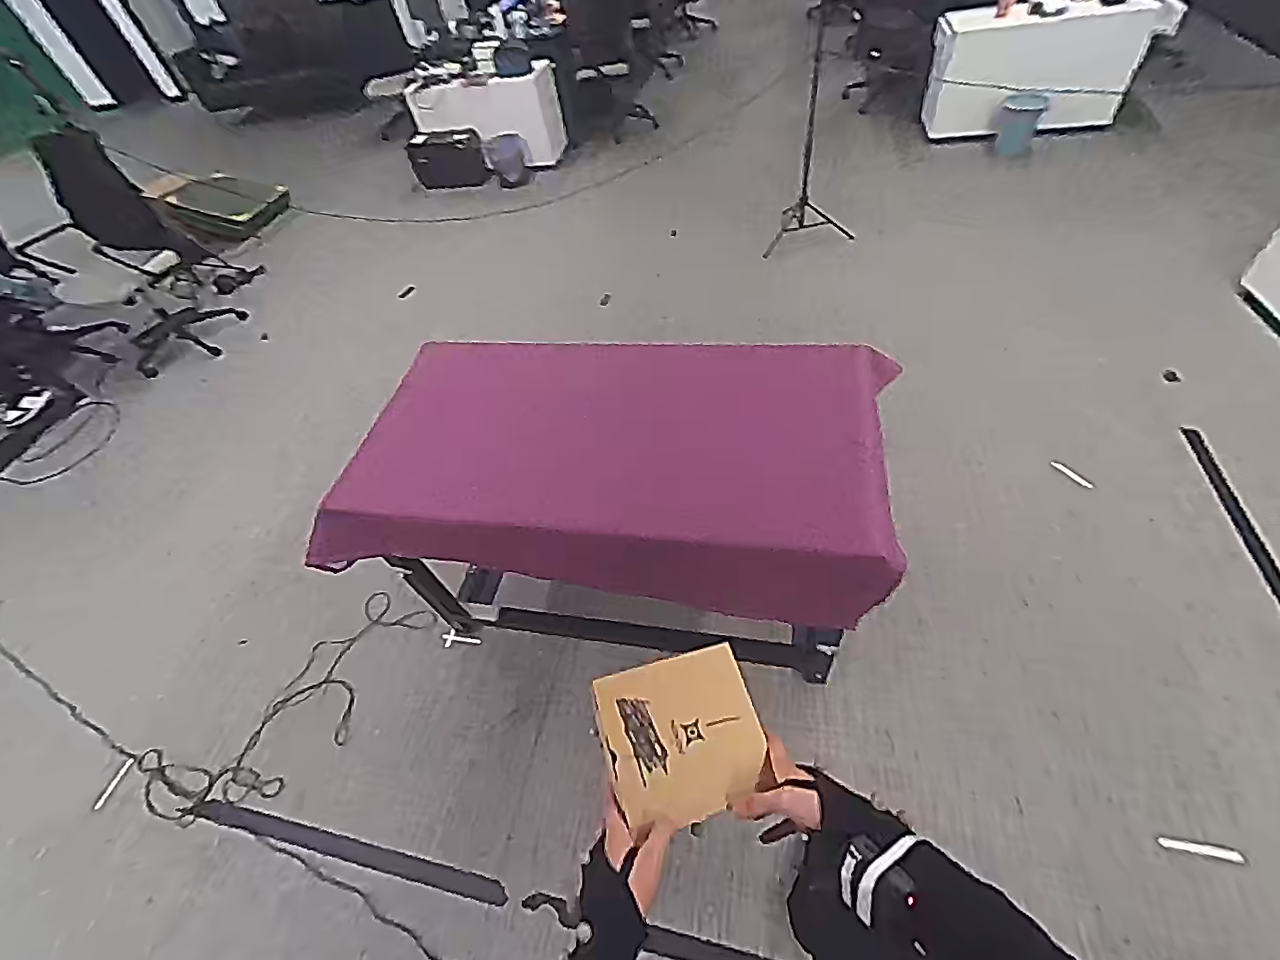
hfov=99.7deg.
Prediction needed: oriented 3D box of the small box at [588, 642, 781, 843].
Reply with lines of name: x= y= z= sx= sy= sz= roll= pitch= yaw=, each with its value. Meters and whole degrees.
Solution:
small box: x=0.043 y=0.324 z=0.664 sx=0.179 sy=0.176 sz=0.168 roll=-14 pitch=59 yaw=-12
